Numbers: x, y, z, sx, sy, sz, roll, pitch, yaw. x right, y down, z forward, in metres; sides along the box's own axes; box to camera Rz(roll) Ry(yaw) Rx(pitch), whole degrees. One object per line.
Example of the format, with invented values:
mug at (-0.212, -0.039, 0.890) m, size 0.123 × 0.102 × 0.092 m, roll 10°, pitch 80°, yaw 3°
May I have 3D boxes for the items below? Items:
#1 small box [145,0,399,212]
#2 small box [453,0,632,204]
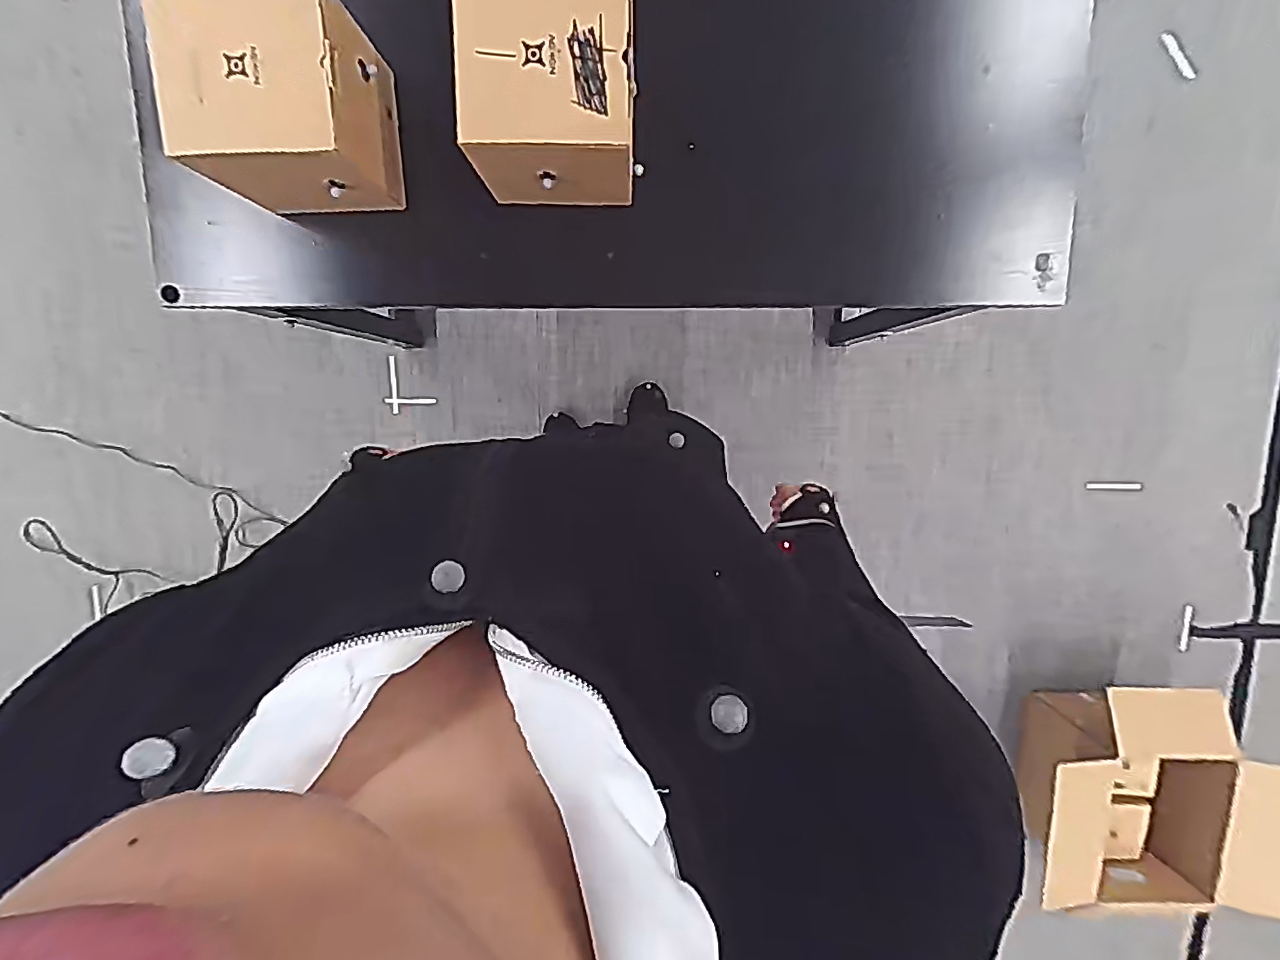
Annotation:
small box at (-0.392, -0.420, 0.614) m, size 0.179 × 0.176 × 0.168 m, roll -3°, pitch 97°, yaw 0°
small box at (-0.098, -0.430, 0.614) m, size 0.179 × 0.176 × 0.168 m, roll 1°, pitch 98°, yaw 0°
